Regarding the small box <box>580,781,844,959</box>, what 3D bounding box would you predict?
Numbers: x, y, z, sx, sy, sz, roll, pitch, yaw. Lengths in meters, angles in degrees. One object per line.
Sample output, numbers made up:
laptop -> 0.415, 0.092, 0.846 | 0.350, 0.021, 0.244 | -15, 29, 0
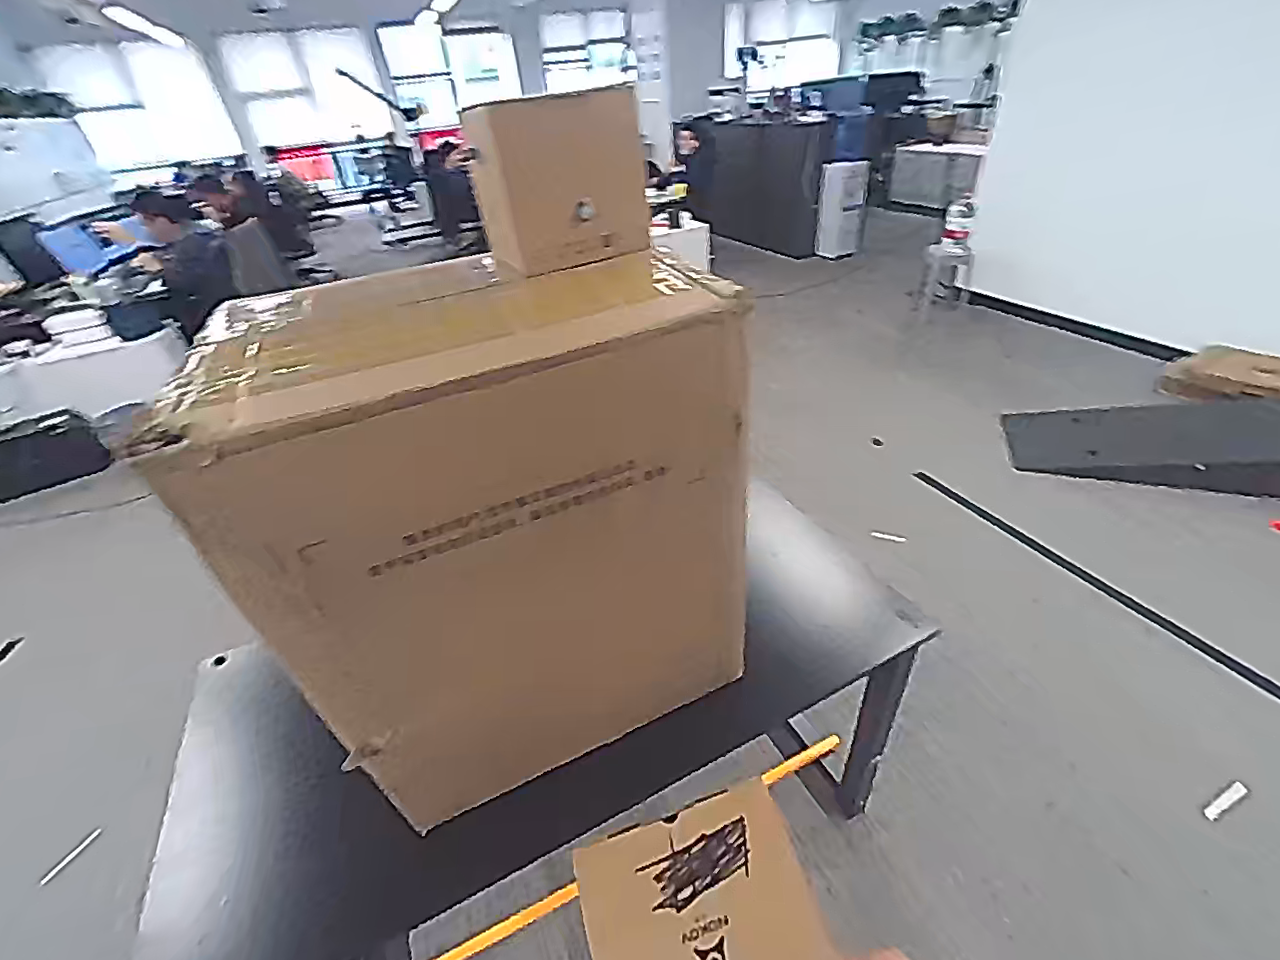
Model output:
small box -> 0.058, 0.381, 0.433 | 0.168, 0.176, 0.179 | -16, 47, -9

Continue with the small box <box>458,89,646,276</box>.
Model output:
small box -> -0.106, -0.359, 0.661 | 0.168, 0.176, 0.179 | -21, 36, -17
